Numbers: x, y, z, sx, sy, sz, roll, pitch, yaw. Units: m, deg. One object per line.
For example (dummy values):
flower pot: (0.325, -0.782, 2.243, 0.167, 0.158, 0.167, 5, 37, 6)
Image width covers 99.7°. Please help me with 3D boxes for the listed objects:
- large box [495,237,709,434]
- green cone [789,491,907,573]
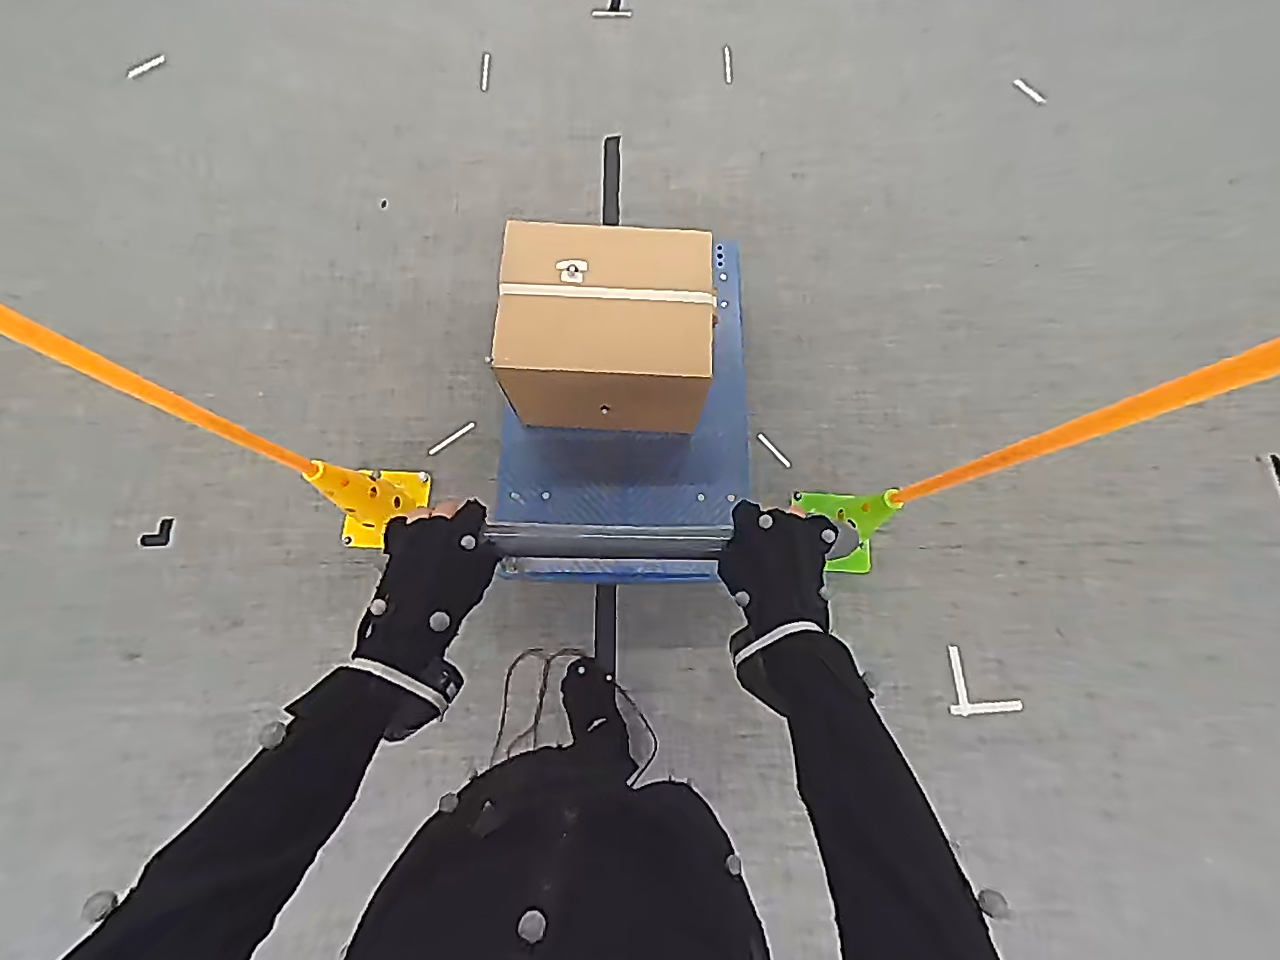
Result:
large box: (-0.067, -0.294, 1.180, 0.408, 0.320, 0.320, 3, 76, 0)
green cone: (0.494, 0.091, 1.235, 0.202, 0.368, 0.200, 4, 75, -2)
